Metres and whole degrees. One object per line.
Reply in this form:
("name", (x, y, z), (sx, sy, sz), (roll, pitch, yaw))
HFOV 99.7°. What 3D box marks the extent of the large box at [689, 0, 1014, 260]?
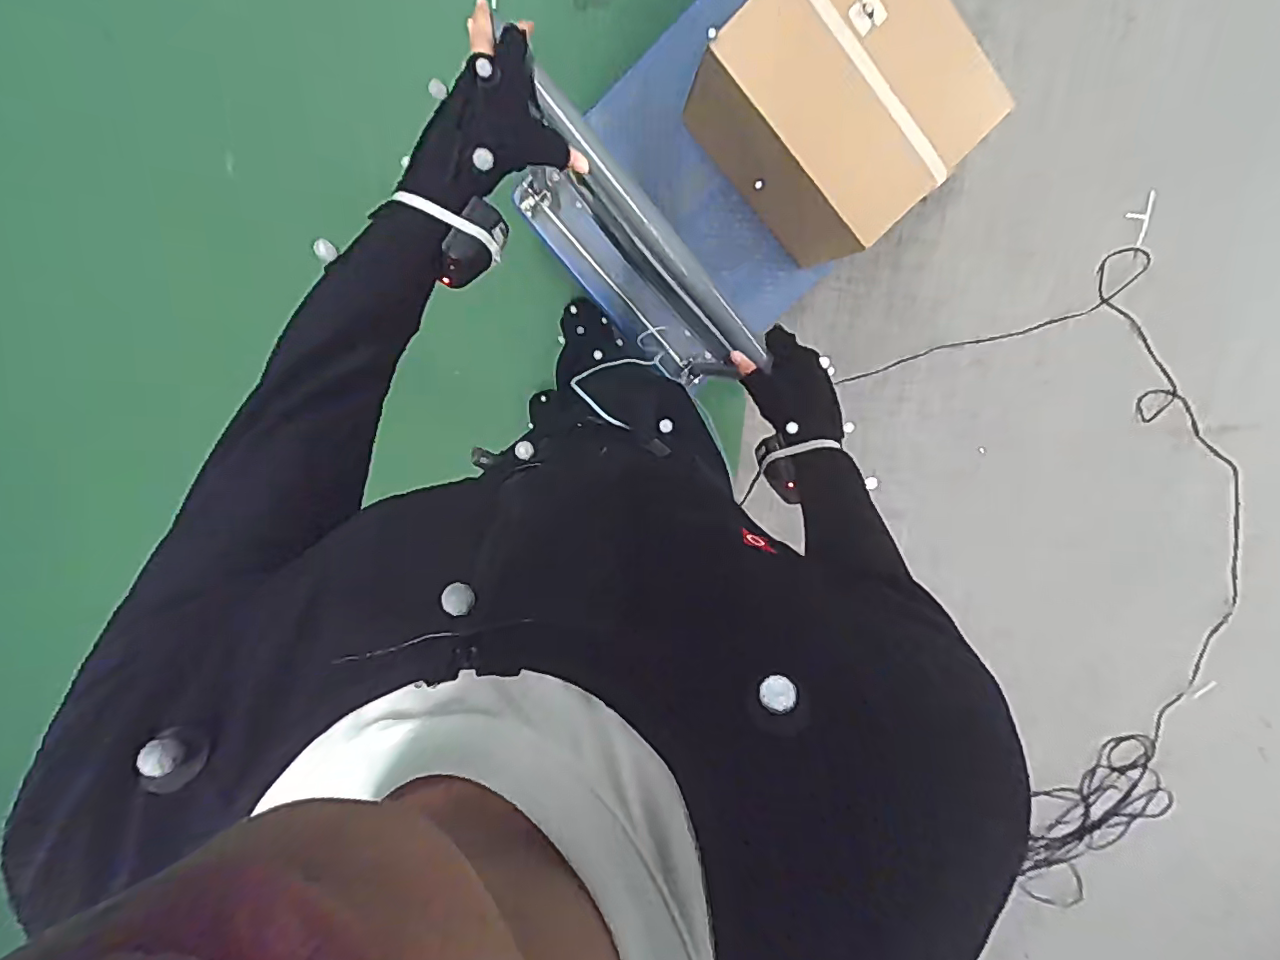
("large box", (0.348, -0.676, 0.987), (0.320, 0.320, 0.408), (-44, 103, 8))
